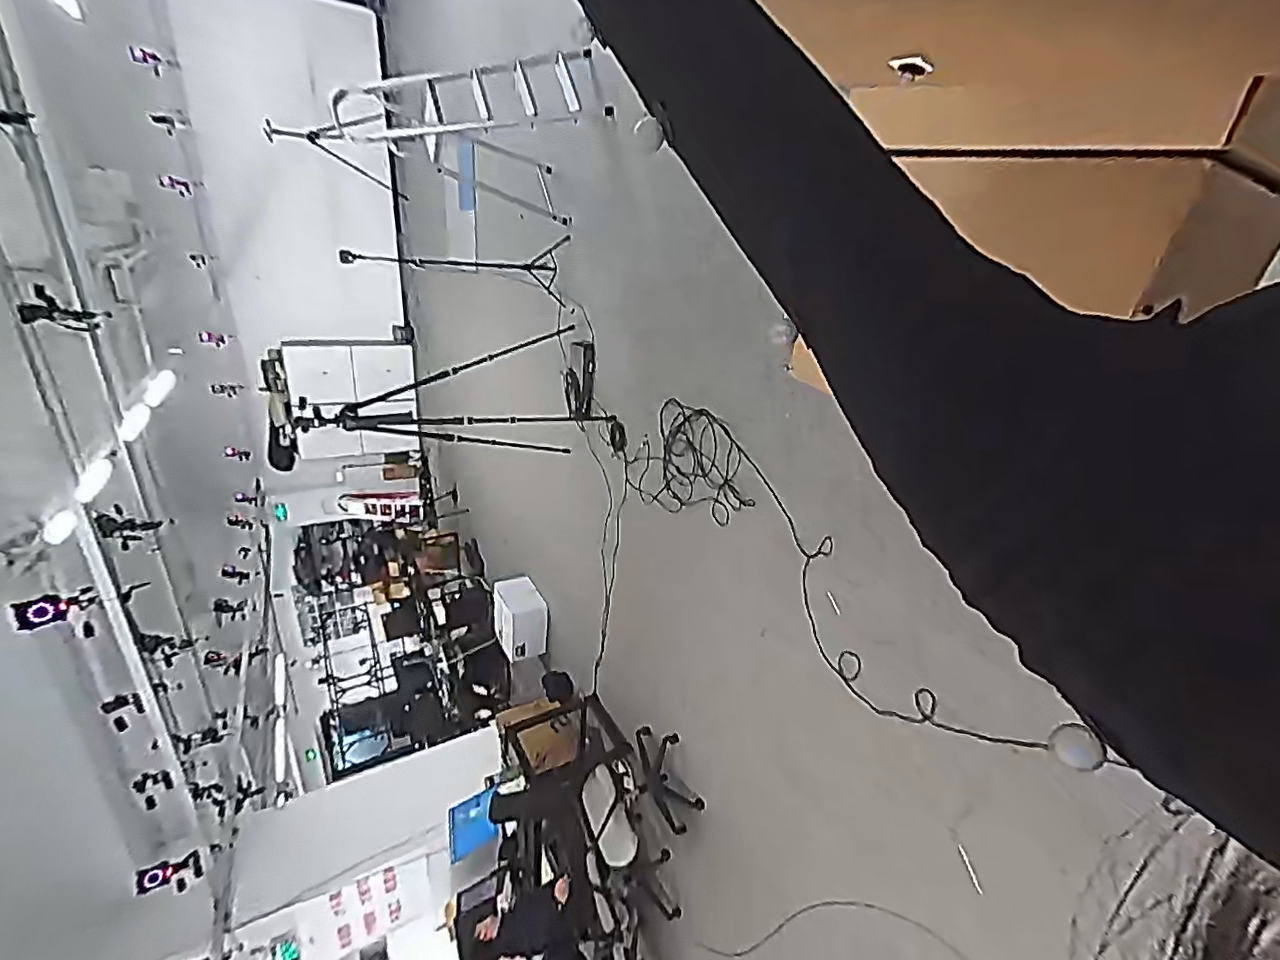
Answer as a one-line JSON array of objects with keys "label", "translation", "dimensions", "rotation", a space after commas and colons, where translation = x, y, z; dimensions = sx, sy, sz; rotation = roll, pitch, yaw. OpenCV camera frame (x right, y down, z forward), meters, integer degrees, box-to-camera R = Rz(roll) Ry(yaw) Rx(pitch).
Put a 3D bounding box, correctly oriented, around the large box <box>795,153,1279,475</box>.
[{"label": "large box", "translation": [0.495, -0.240, 0.742], "dimensions": [0.408, 0.320, 0.320], "rotation": [42, 132, 49]}]
